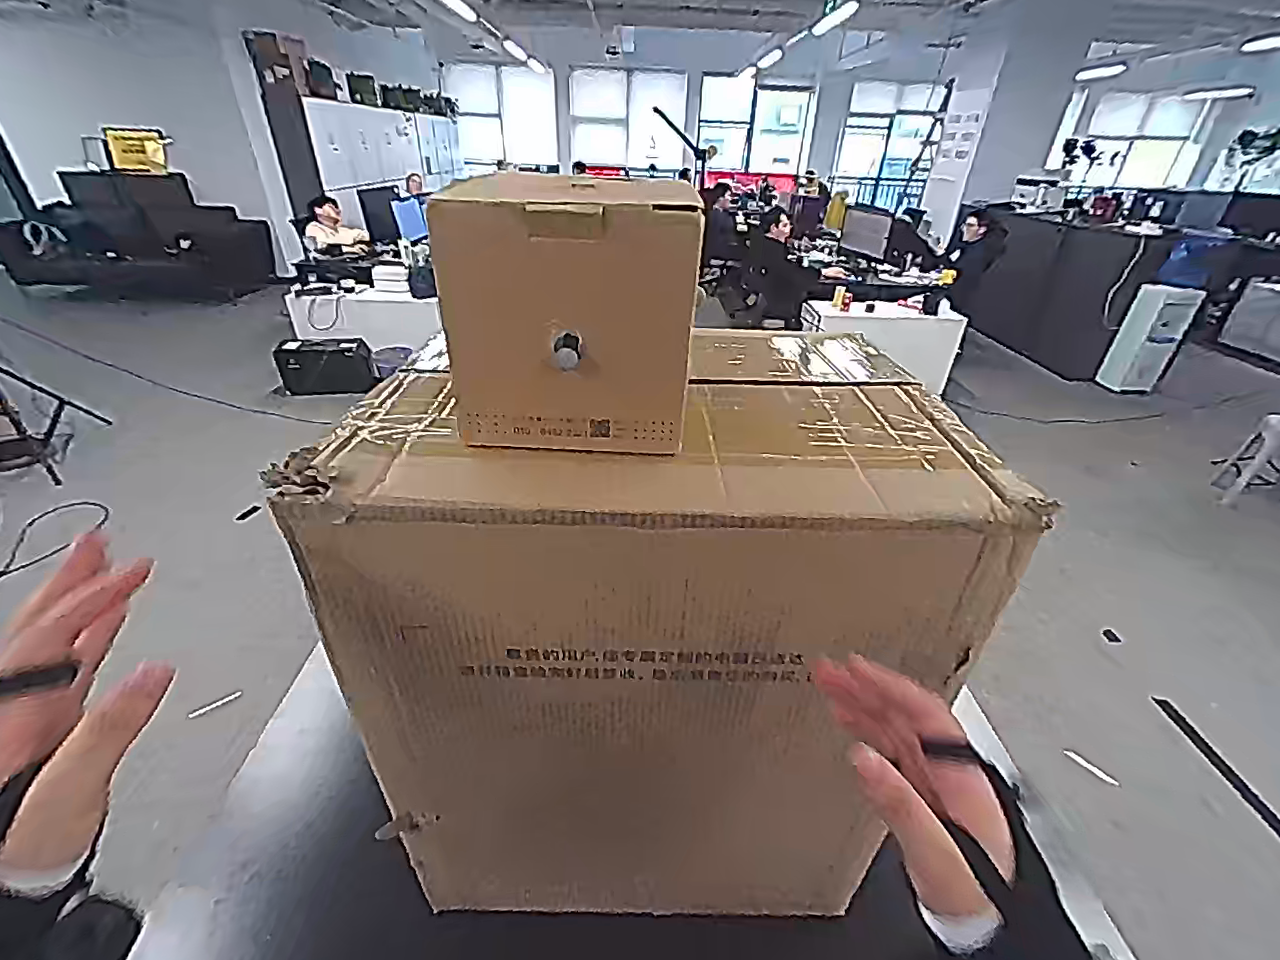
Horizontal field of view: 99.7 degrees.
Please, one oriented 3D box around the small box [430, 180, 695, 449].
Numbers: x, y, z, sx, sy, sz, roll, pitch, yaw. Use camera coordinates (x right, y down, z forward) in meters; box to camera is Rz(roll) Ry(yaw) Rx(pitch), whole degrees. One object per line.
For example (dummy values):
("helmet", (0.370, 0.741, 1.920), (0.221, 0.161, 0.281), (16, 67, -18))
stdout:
("small box", (-0.047, -0.137, 0.438), (0.168, 0.176, 0.179), (2, 34, -1))
